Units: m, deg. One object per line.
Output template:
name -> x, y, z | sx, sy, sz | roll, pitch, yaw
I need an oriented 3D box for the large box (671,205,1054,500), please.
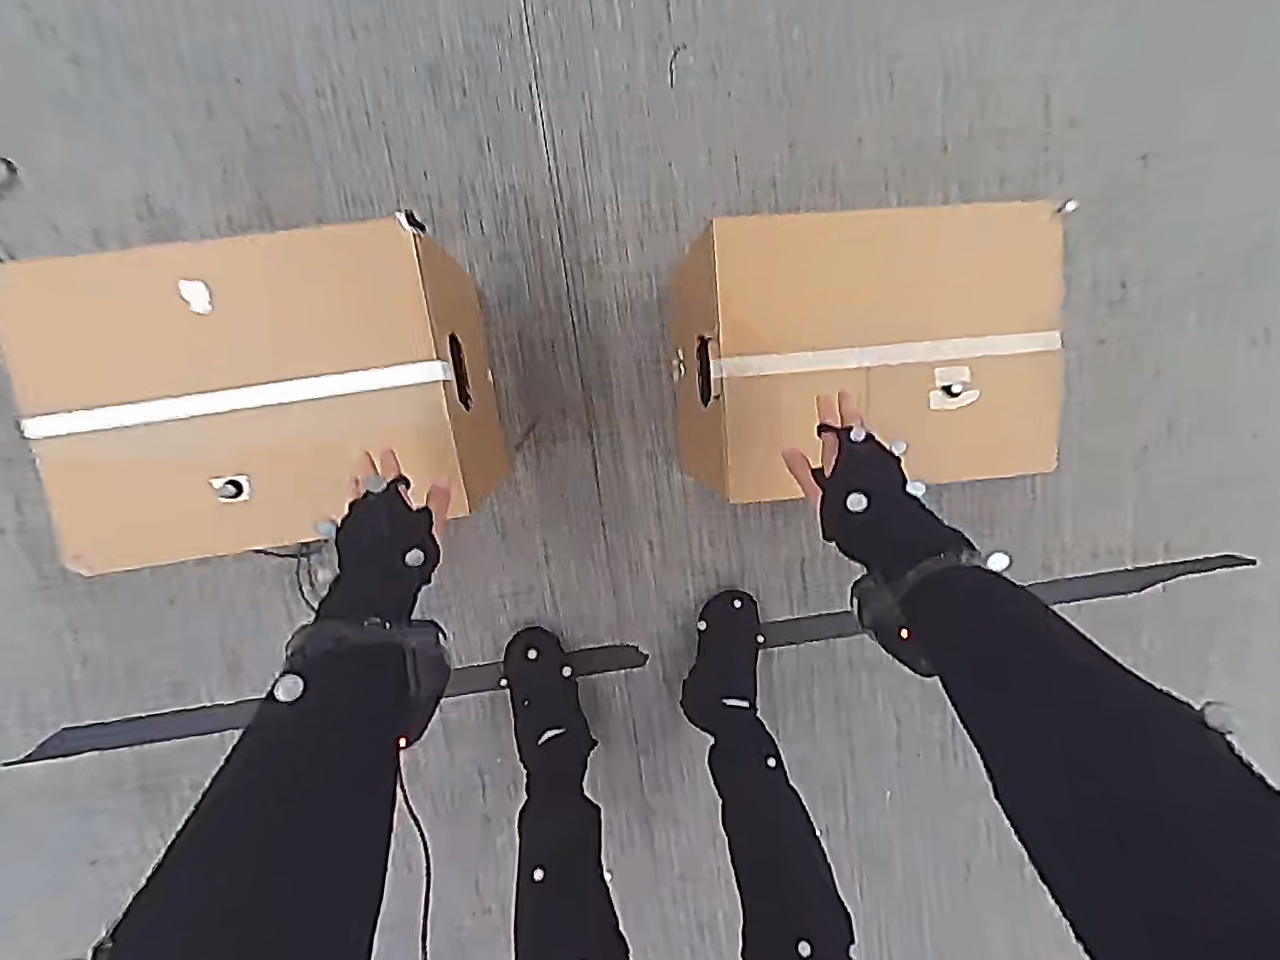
large box -> 0.275, -0.164, 0.772 | 0.408, 0.320, 0.320 | -5, 98, -6
